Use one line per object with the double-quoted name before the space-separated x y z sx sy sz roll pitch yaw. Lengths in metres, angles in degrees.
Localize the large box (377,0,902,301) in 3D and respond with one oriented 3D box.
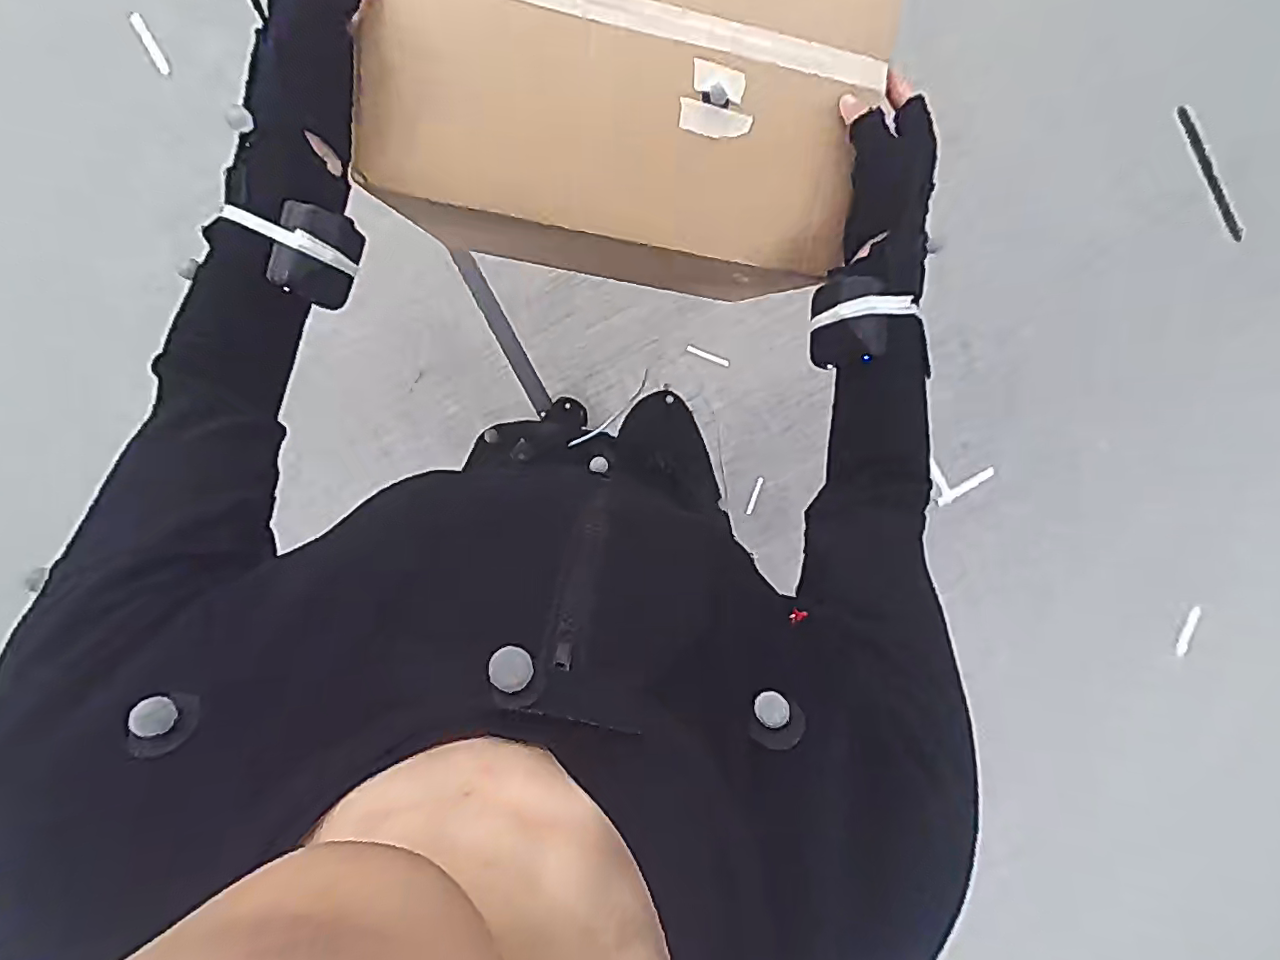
"large box" -0.012 -0.392 0.570 0.408 0.320 0.320 9 104 -10
